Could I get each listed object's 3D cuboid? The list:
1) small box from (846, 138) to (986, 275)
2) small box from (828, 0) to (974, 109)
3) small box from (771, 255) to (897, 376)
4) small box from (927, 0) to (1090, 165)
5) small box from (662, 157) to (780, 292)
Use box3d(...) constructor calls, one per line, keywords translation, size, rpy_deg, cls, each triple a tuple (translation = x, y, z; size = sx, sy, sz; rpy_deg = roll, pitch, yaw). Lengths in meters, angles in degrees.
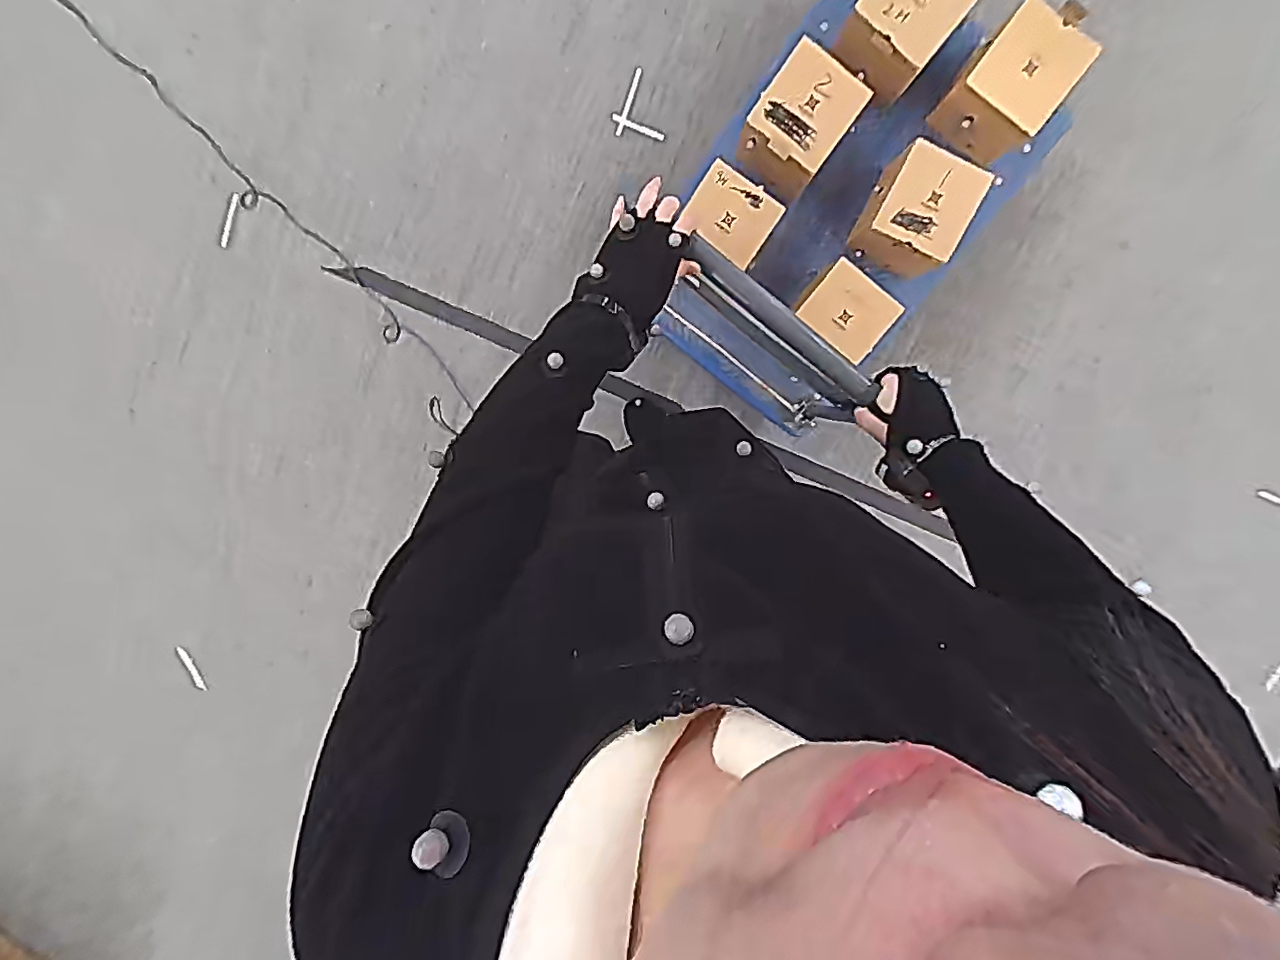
box3d(translation=(0.548, -0.545, 1.108), size=(0.168, 0.176, 0.179), rpy_deg=(26, 100, -3), cls="small box")
box3d(translation=(0.497, -0.878, 1.045), size=(0.168, 0.176, 0.179), rpy_deg=(40, 101, -5), cls="small box")
box3d(translation=(0.399, -0.340, 1.155), size=(0.168, 0.176, 0.179), rpy_deg=(38, 99, -6), cls="small box")
box3d(translation=(0.702, -0.765, 1.061), size=(0.168, 0.176, 0.179), rpy_deg=(35, 100, -5), cls="small box")
box3d(translation=(0.162, -0.518, 1.129), size=(0.168, 0.176, 0.179), rpy_deg=(34, 101, -5), cls="small box")
